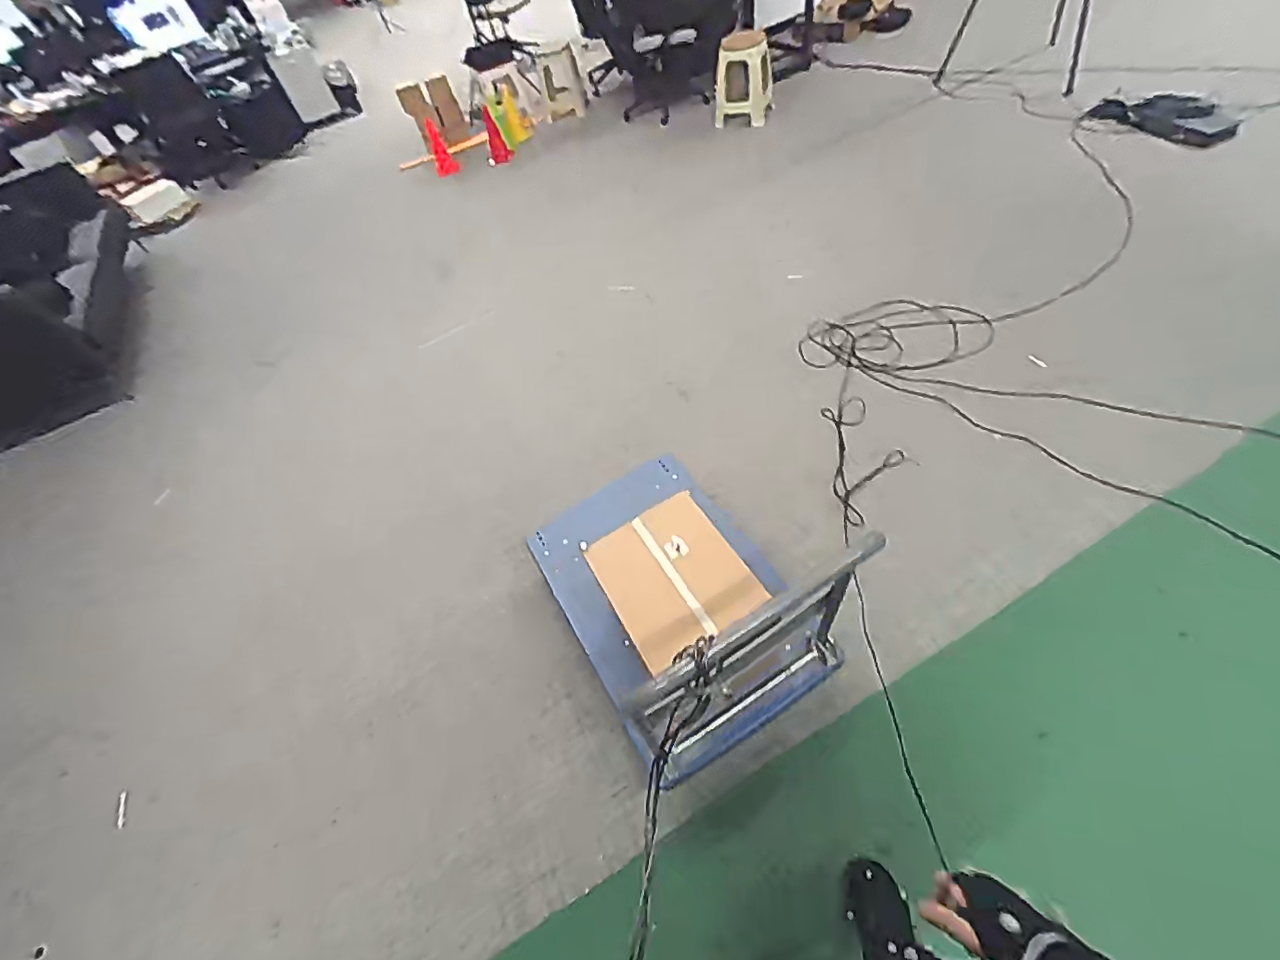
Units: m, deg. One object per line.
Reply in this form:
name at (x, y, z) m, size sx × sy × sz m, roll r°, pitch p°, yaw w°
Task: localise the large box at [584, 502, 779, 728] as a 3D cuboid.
large box at (0.111, 0.342, 1.386) m, size 0.320 × 0.320 × 0.408 m, roll -29°, pitch 51°, yaw -10°
